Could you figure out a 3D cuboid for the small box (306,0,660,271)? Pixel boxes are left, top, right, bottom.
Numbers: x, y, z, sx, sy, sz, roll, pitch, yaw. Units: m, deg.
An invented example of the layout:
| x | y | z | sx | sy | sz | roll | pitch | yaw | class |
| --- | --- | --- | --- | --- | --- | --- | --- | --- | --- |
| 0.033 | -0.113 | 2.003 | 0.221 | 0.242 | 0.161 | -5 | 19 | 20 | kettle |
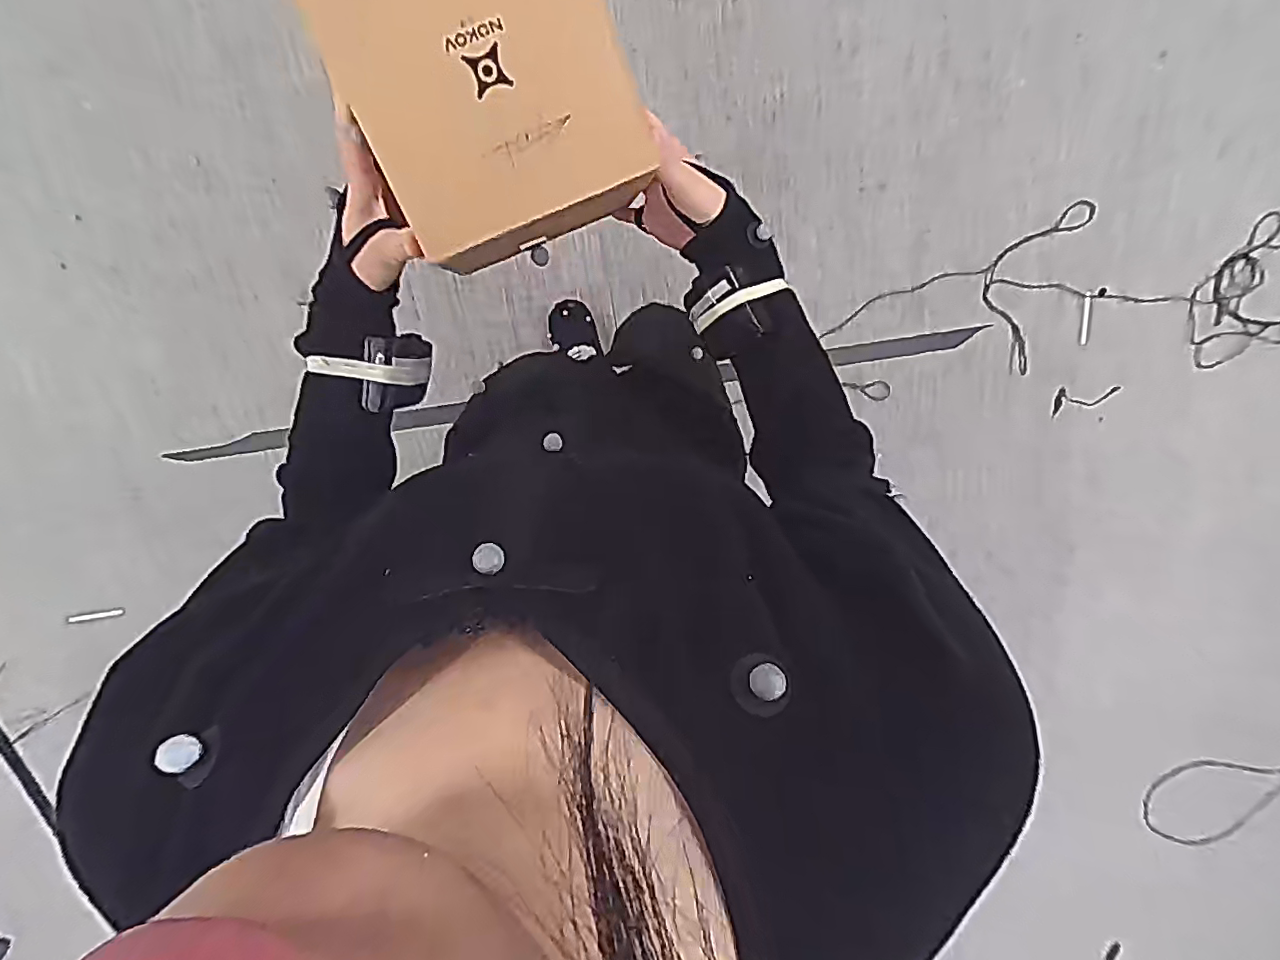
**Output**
| x | y | z | sx | sy | sz | roll | pitch | yaw | class |
| --- | --- | --- | --- | --- | --- | --- | --- | --- | --- |
| -0.104 | -0.269 | 0.390 | 0.168 | 0.176 | 0.179 | -23 | 110 | -2 | small box |
